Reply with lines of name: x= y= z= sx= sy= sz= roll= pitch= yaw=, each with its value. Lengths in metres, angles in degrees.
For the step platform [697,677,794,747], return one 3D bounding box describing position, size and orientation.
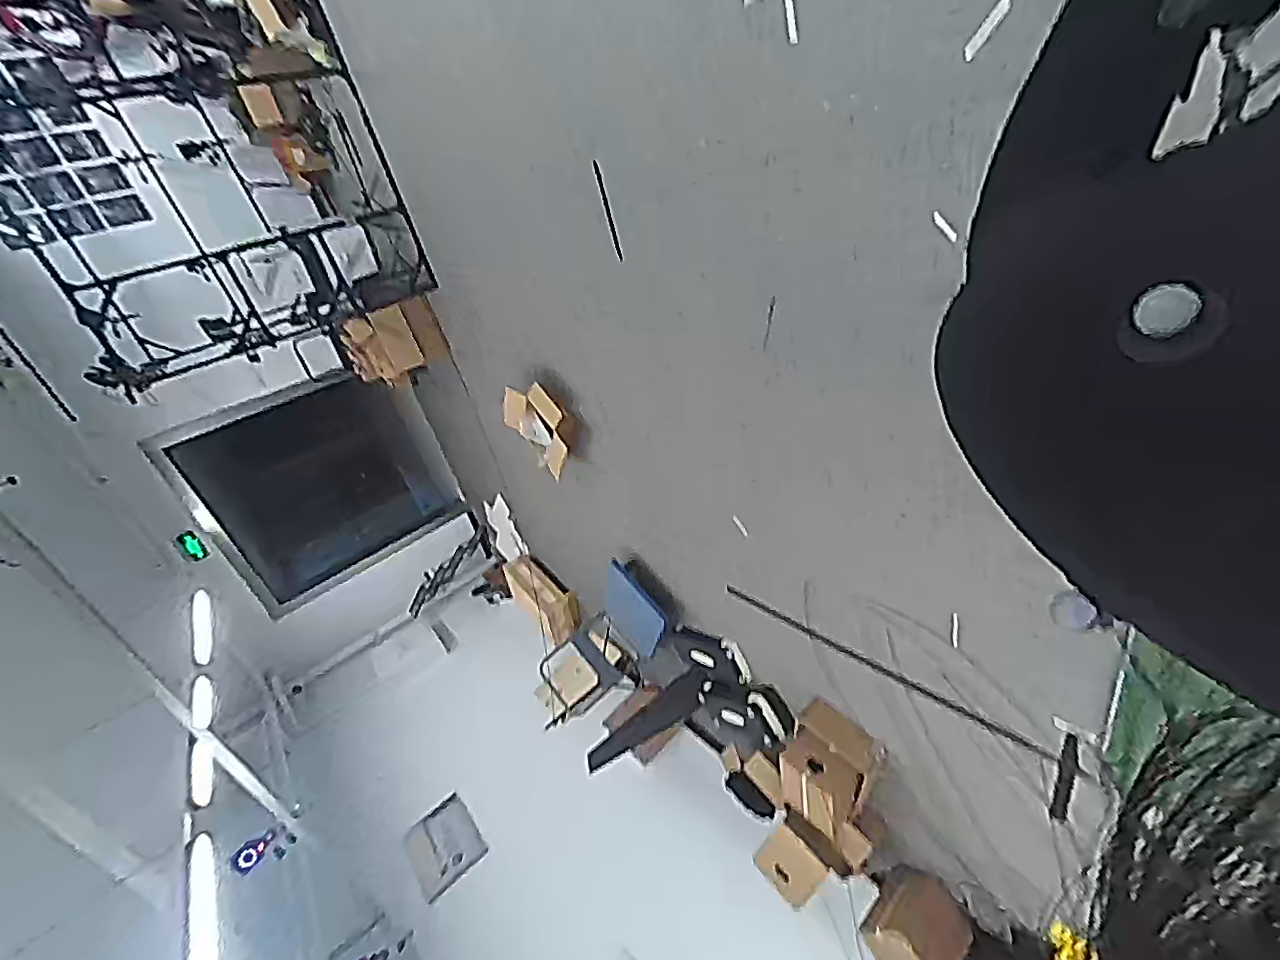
step platform: x=0.646 y=1.462 z=3.431 sx=0.286 sy=0.204 sz=0.684 roll=59 pitch=151 yaw=-2
